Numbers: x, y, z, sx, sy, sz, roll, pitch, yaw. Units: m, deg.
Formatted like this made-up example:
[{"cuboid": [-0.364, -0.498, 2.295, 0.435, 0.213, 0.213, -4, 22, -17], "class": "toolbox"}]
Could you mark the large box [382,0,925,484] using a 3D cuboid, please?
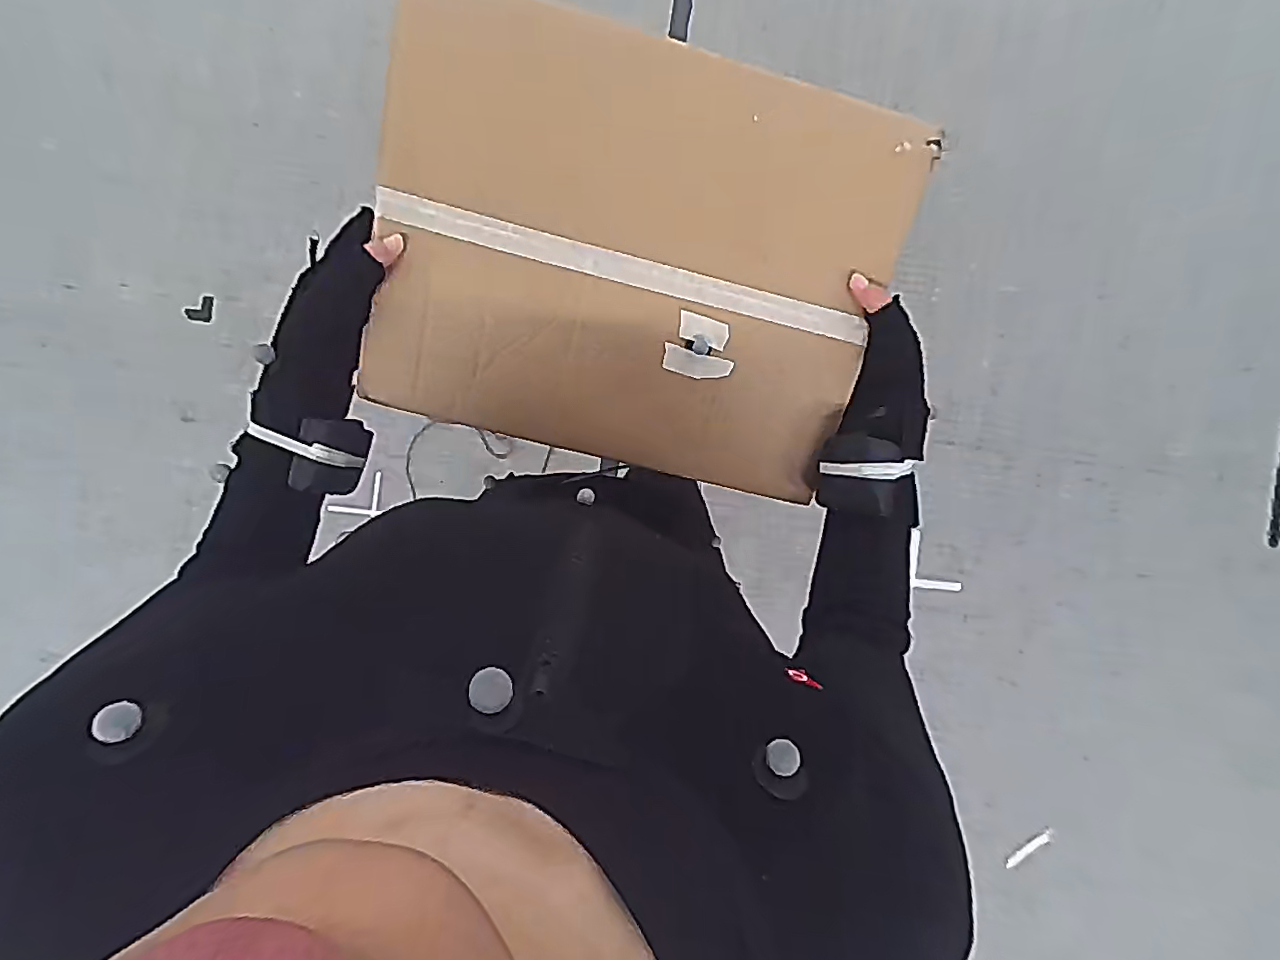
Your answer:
[{"cuboid": [-0.007, -0.221, 0.592, 0.408, 0.320, 0.320, 13, 107, -6], "class": "large box"}]
